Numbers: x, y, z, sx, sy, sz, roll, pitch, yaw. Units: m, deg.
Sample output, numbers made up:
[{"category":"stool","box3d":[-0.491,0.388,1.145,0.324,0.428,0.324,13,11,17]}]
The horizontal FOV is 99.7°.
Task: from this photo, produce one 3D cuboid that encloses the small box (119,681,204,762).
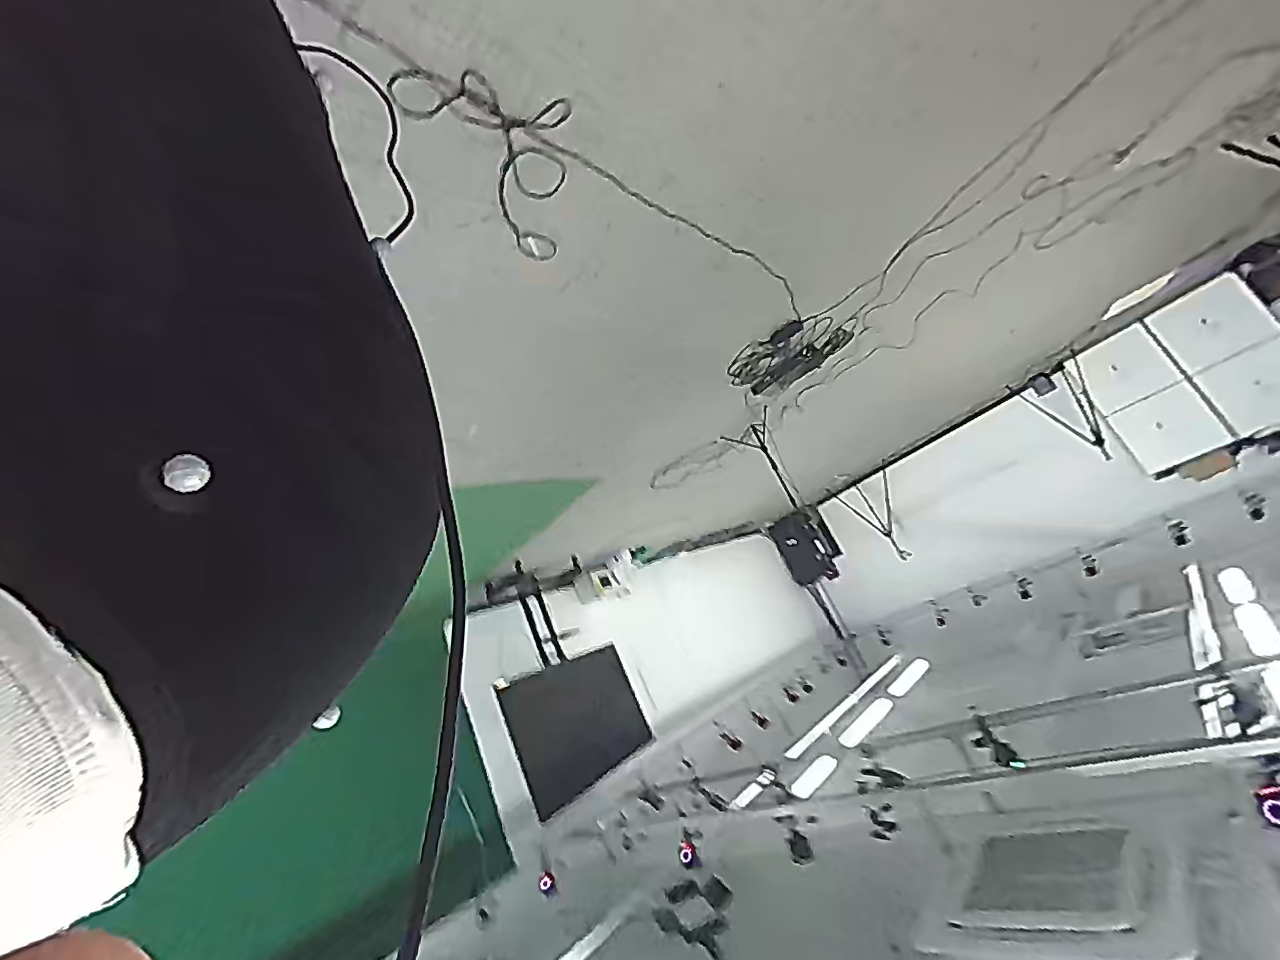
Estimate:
[{"category":"small box","box3d":[-1.534,0.769,1.730,0.168,0.176,0.179,-35,161,35]}]
